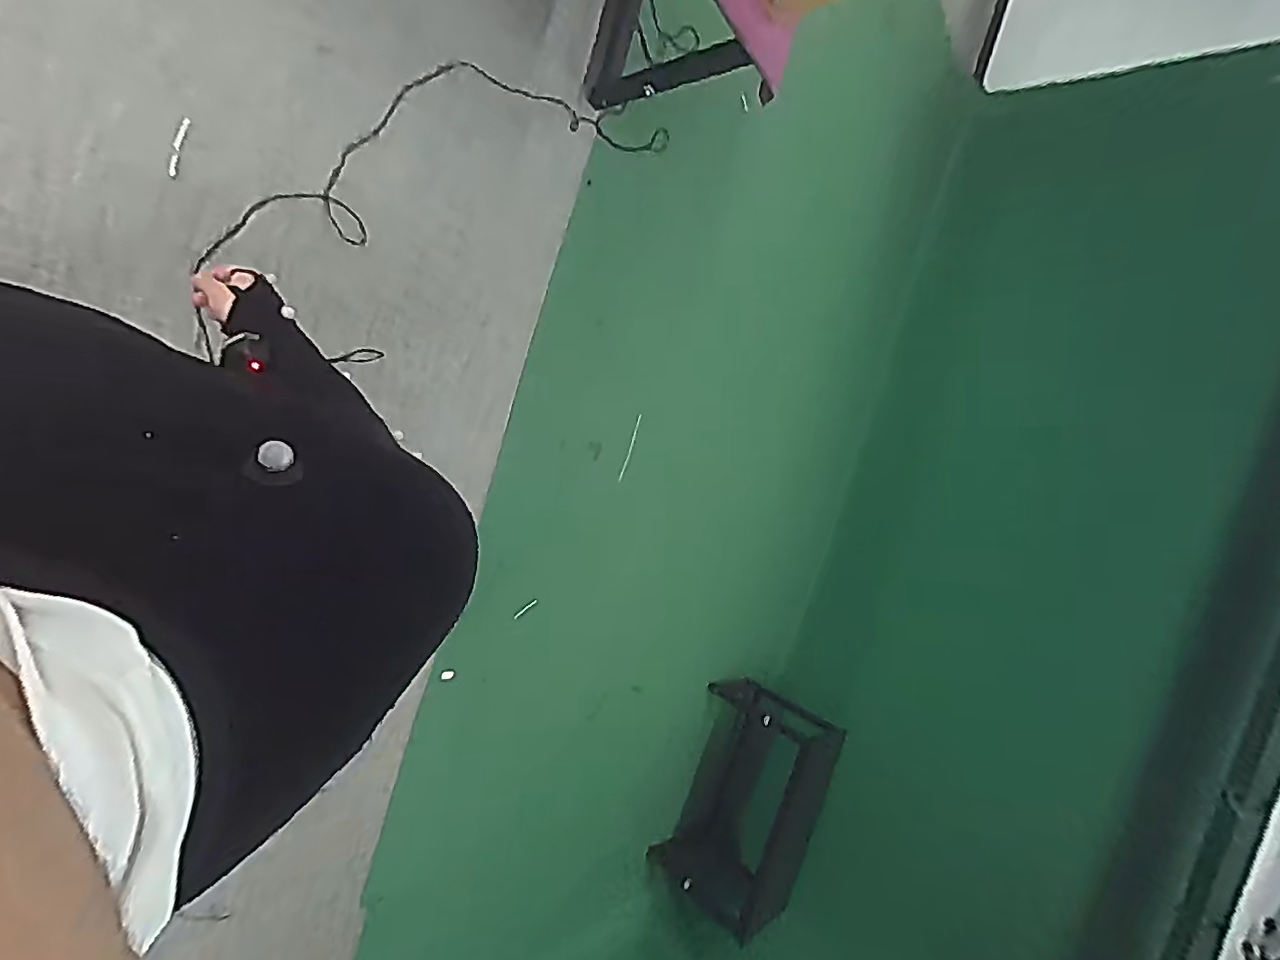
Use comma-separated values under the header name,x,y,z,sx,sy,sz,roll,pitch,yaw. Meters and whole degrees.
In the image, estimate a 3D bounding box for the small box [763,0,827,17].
name,x,y,z,sx,sy,sz,roll,pitch,yaw
small box,0.363,-1.212,1.218,0.168,0.176,0.179,16,92,-48

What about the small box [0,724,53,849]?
name,x,y,z,sx,sy,sz,roll,pitch,yaw
small box,-1.342,0.636,1.109,0.168,0.176,0.179,13,93,-49
